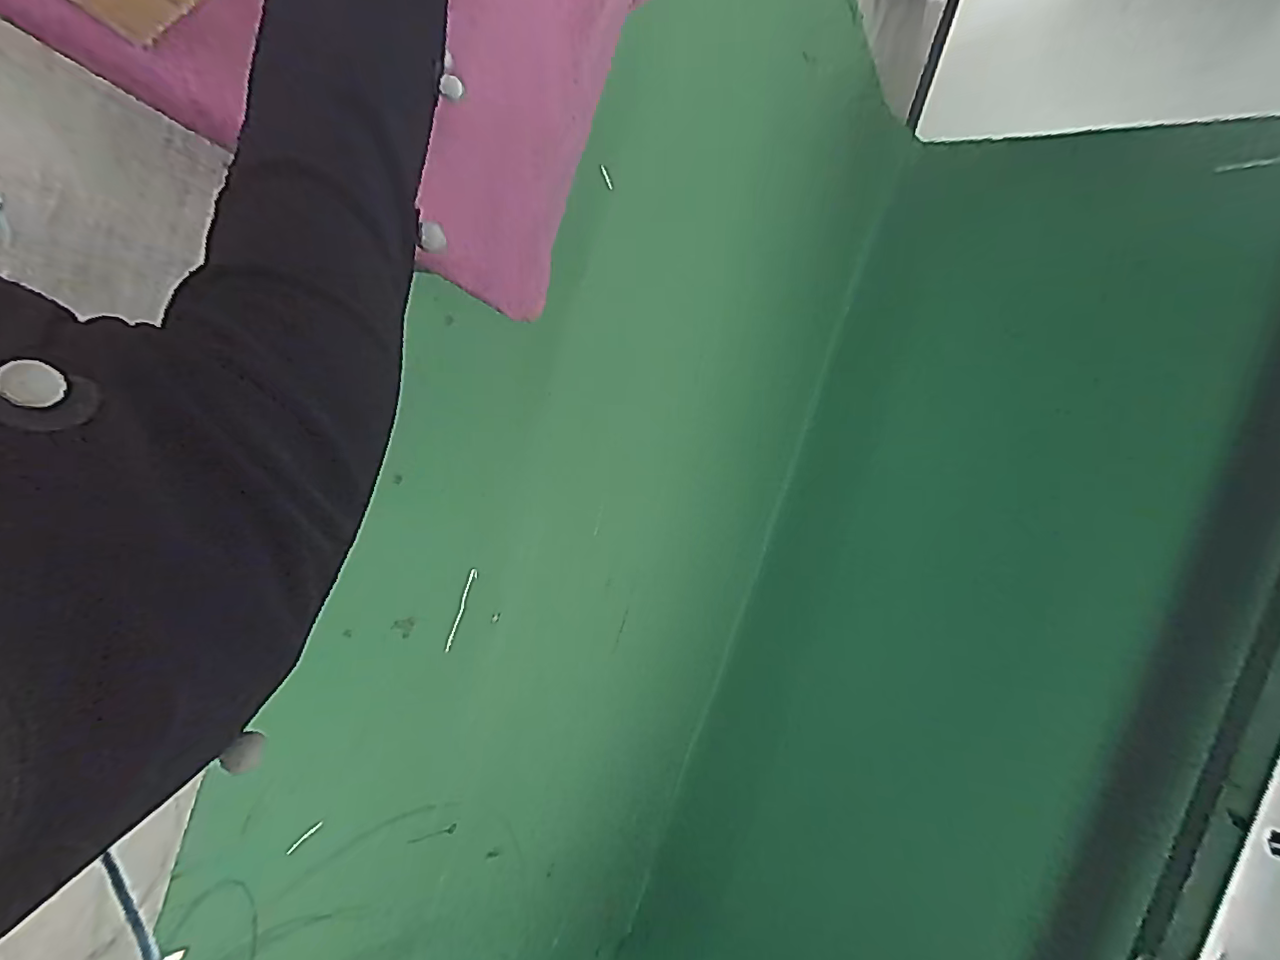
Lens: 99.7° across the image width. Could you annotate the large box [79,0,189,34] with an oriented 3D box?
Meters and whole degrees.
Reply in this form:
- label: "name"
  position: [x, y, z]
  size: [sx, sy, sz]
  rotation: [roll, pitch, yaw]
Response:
- label: "large box"
  position: [-0.382, -0.601, 0.318]
  size: [0.320, 0.320, 0.408]
  rotation: [22, 88, -54]
